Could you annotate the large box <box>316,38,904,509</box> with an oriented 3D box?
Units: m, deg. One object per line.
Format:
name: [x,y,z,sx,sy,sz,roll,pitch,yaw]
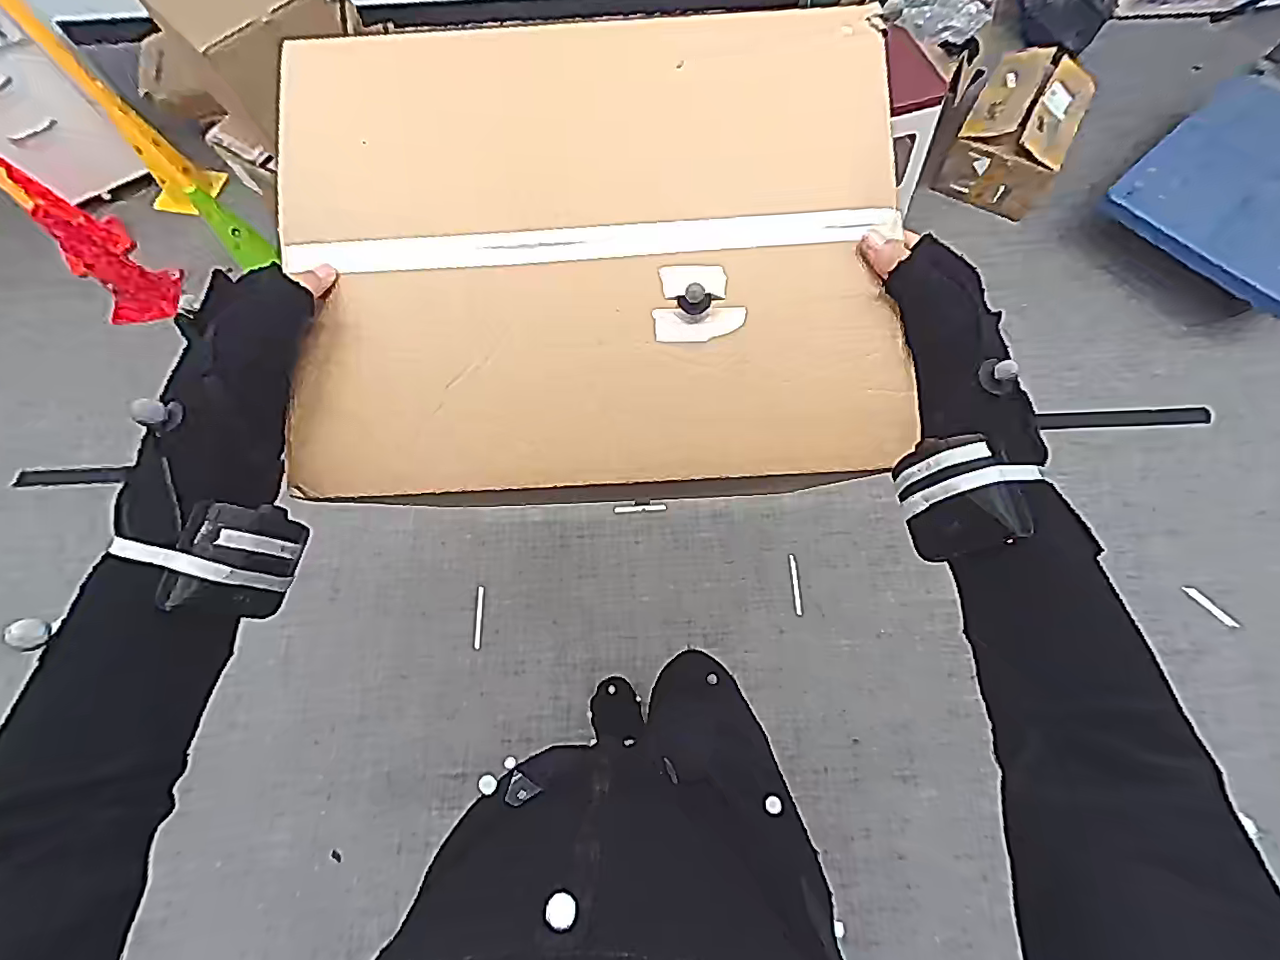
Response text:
large box: [-0.027,-0.141,0.525,0.408,0.320,0.320,-3,86,1]
